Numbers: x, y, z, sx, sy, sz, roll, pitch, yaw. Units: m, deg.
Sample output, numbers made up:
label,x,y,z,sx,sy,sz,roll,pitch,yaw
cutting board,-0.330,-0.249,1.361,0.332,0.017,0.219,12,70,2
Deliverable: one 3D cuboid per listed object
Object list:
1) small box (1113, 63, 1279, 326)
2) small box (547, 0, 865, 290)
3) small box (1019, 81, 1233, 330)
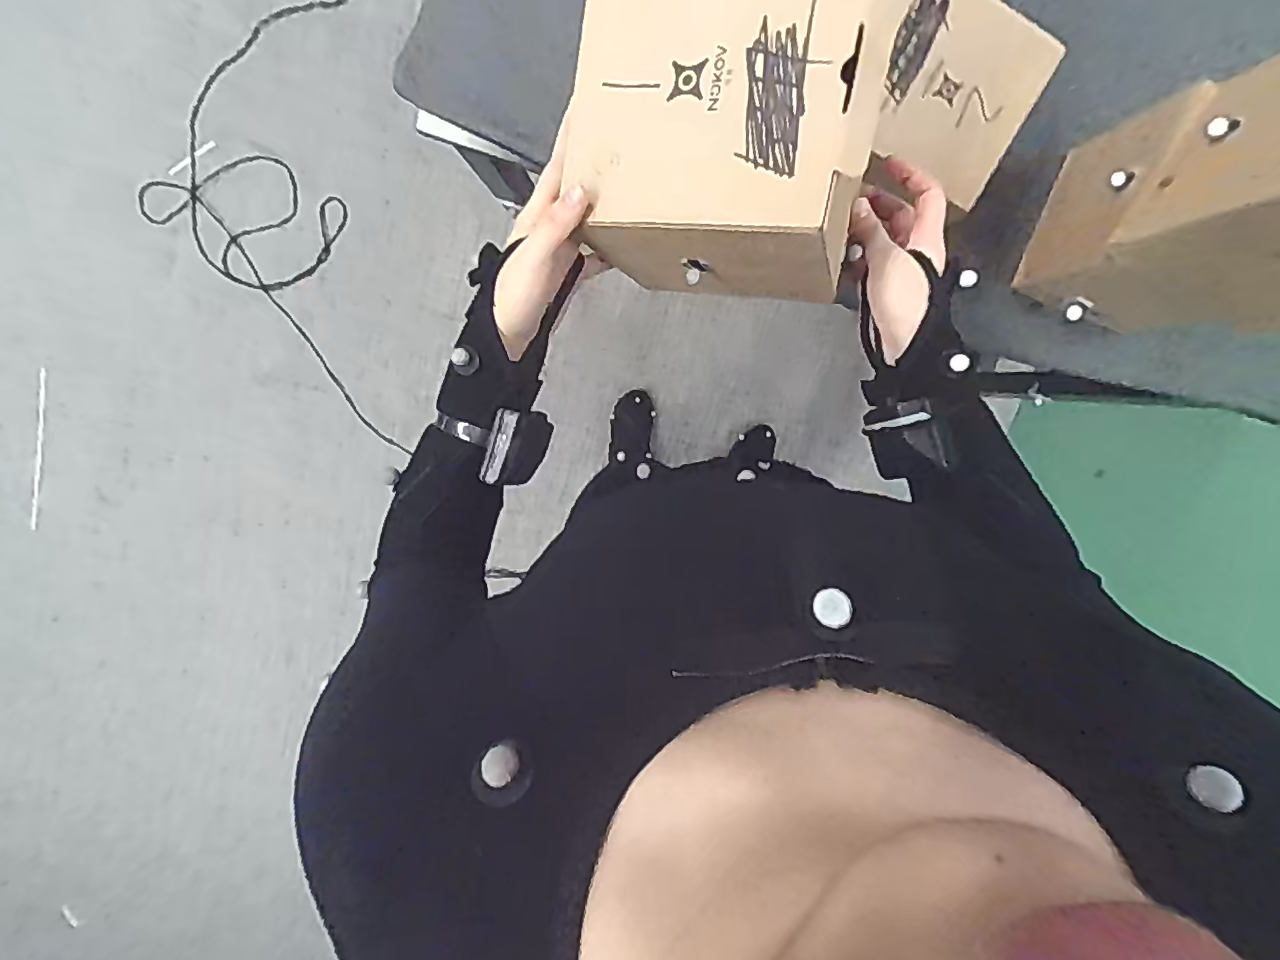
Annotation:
label,x,y,z,sx,sy,sz,roll,pitch,yaw
small box,0.569,-0.241,0.444,0.179,0.176,0.168,29,98,-3
small box,0.059,-0.245,0.394,0.179,0.176,0.168,11,97,22
small box,0.575,-0.282,0.601,0.168,0.176,0.179,19,100,-2
